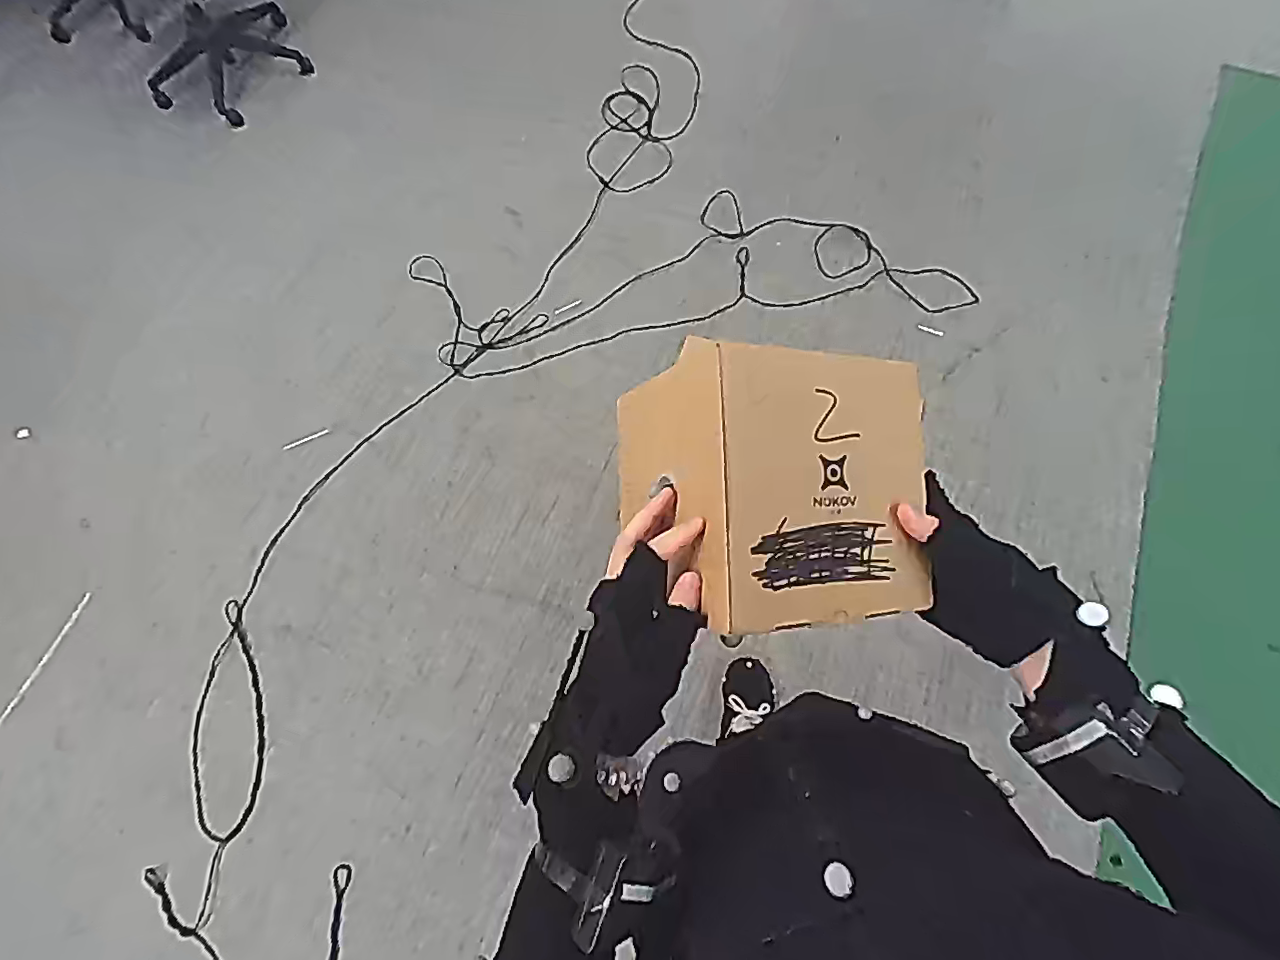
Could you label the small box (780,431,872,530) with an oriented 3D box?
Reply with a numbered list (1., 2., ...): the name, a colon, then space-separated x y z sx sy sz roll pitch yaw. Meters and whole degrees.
1. small box: 0.461 0.006 1.360 0.168 0.176 0.179 17 73 13
